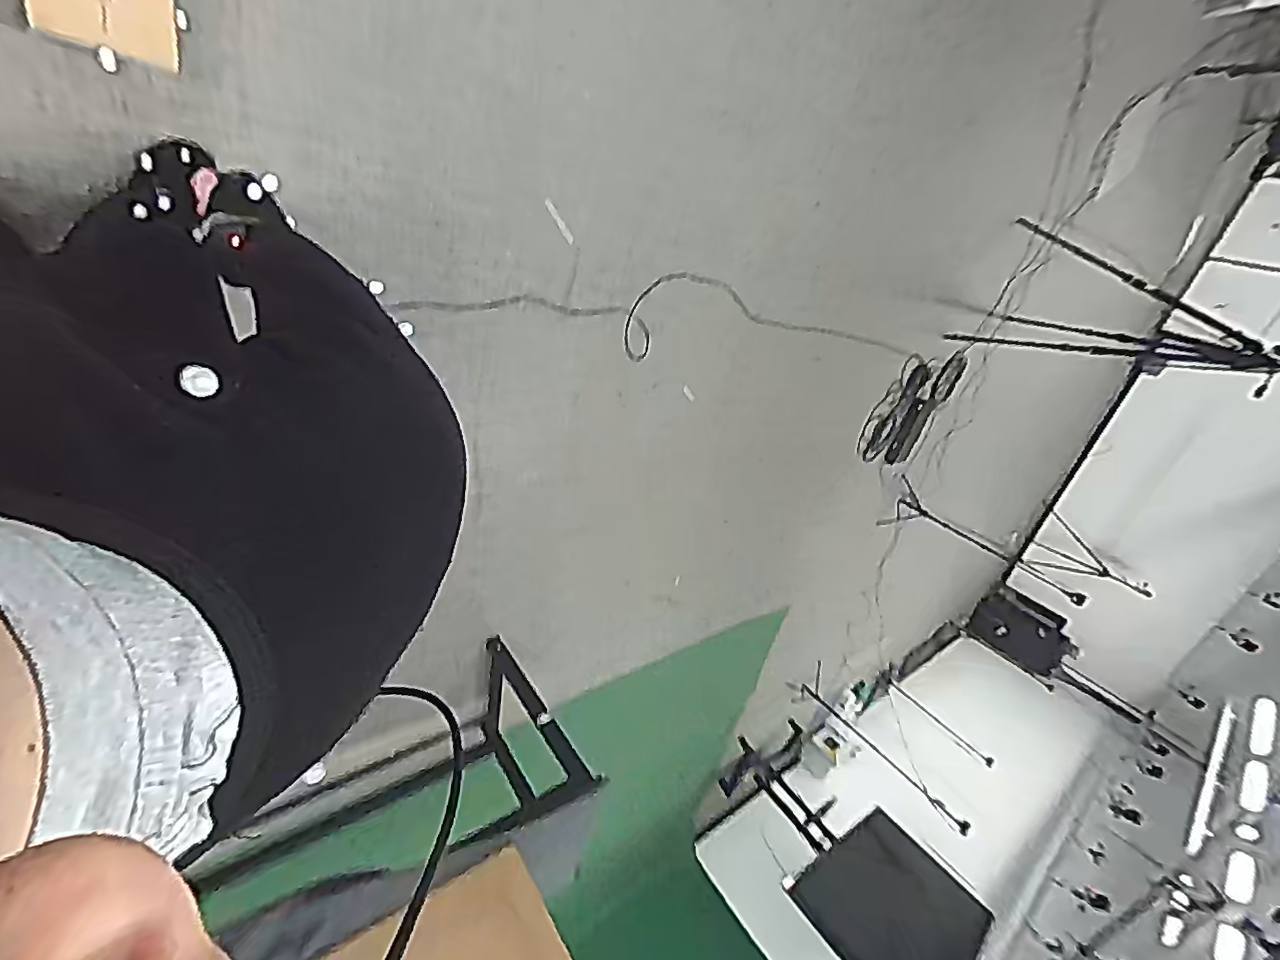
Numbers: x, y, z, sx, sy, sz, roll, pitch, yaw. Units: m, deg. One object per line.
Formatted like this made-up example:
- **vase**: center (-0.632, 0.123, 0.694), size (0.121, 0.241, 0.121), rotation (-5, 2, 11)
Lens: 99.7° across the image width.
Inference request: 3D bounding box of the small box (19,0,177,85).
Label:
- **small box**: center (-0.831, -0.740, 0.831), size (0.168, 0.176, 0.179), rotation (-6, 123, -40)
